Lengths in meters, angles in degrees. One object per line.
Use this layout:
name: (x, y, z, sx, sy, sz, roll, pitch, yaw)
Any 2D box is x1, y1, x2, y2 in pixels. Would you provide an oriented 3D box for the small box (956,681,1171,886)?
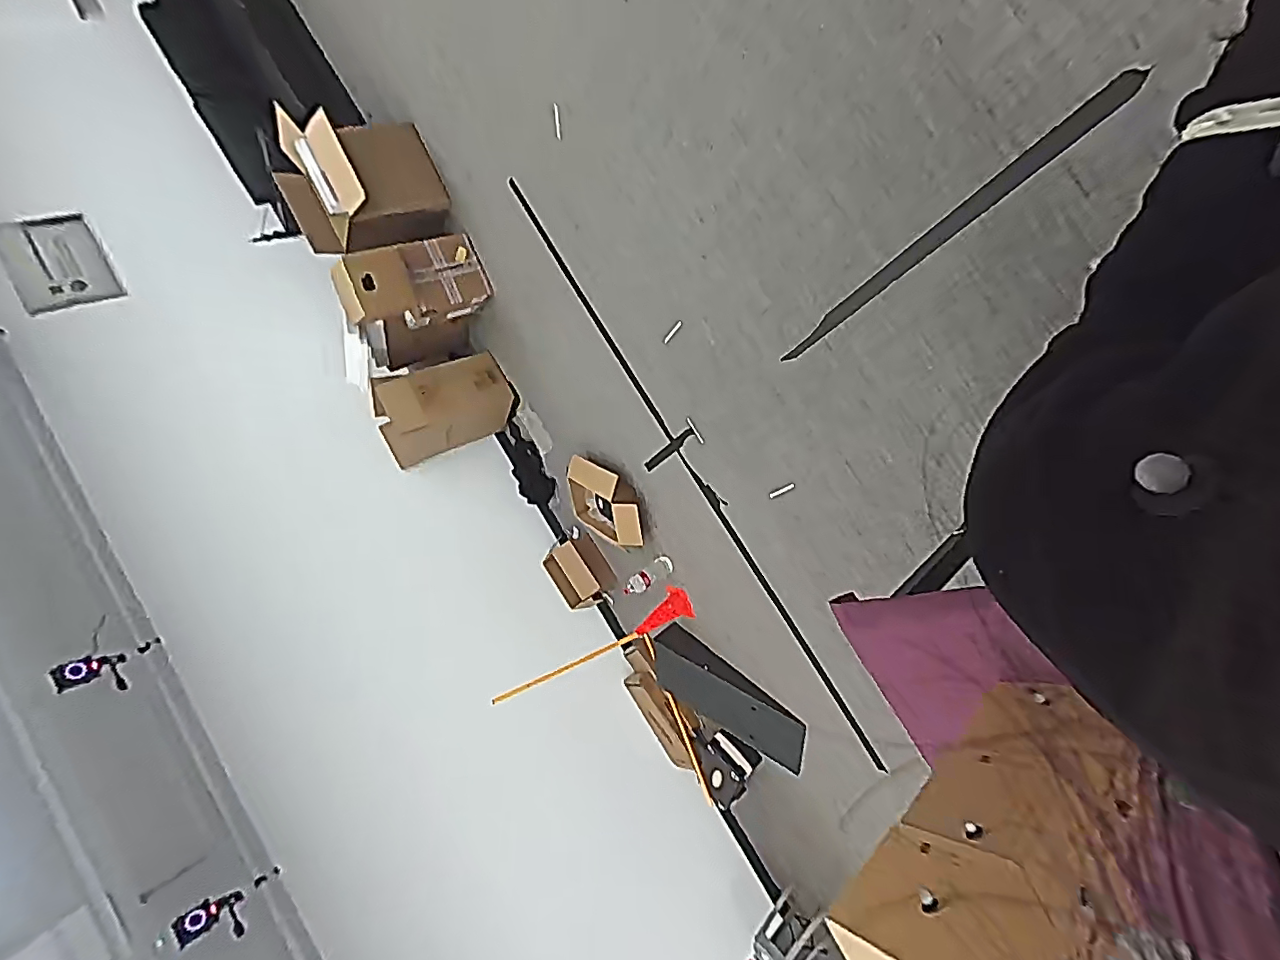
small box: (0.616, 0.423, 0.788, 0.179, 0.176, 0.168, 60, 150, 2)

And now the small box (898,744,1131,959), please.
small box: (0.489, 0.487, 0.708, 0.179, 0.176, 0.168, 60, 150, 0)

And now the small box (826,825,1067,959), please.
small box: (0.361, 0.550, 0.627, 0.179, 0.176, 0.168, 61, 150, 0)
